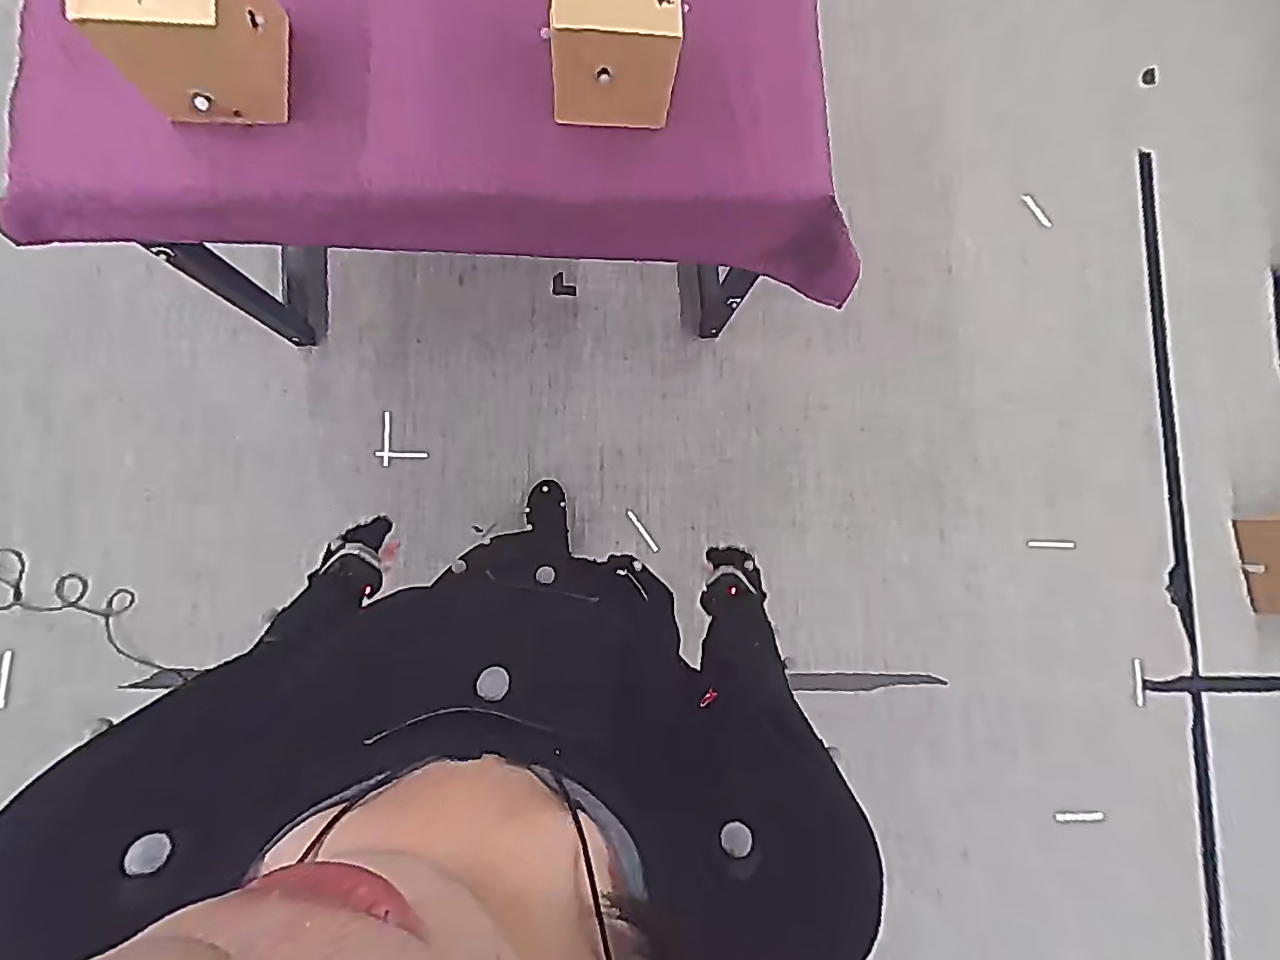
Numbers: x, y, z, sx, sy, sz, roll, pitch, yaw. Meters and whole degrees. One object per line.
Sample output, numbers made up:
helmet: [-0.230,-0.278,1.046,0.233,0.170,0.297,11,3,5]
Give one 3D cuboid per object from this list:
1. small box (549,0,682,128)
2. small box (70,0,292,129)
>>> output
small box: [-0.039,-0.654,0.795,0.179,0.176,0.168,-2,84,-5]
small box: [-0.600,-0.618,0.730,0.168,0.176,0.179,-3,85,-6]
